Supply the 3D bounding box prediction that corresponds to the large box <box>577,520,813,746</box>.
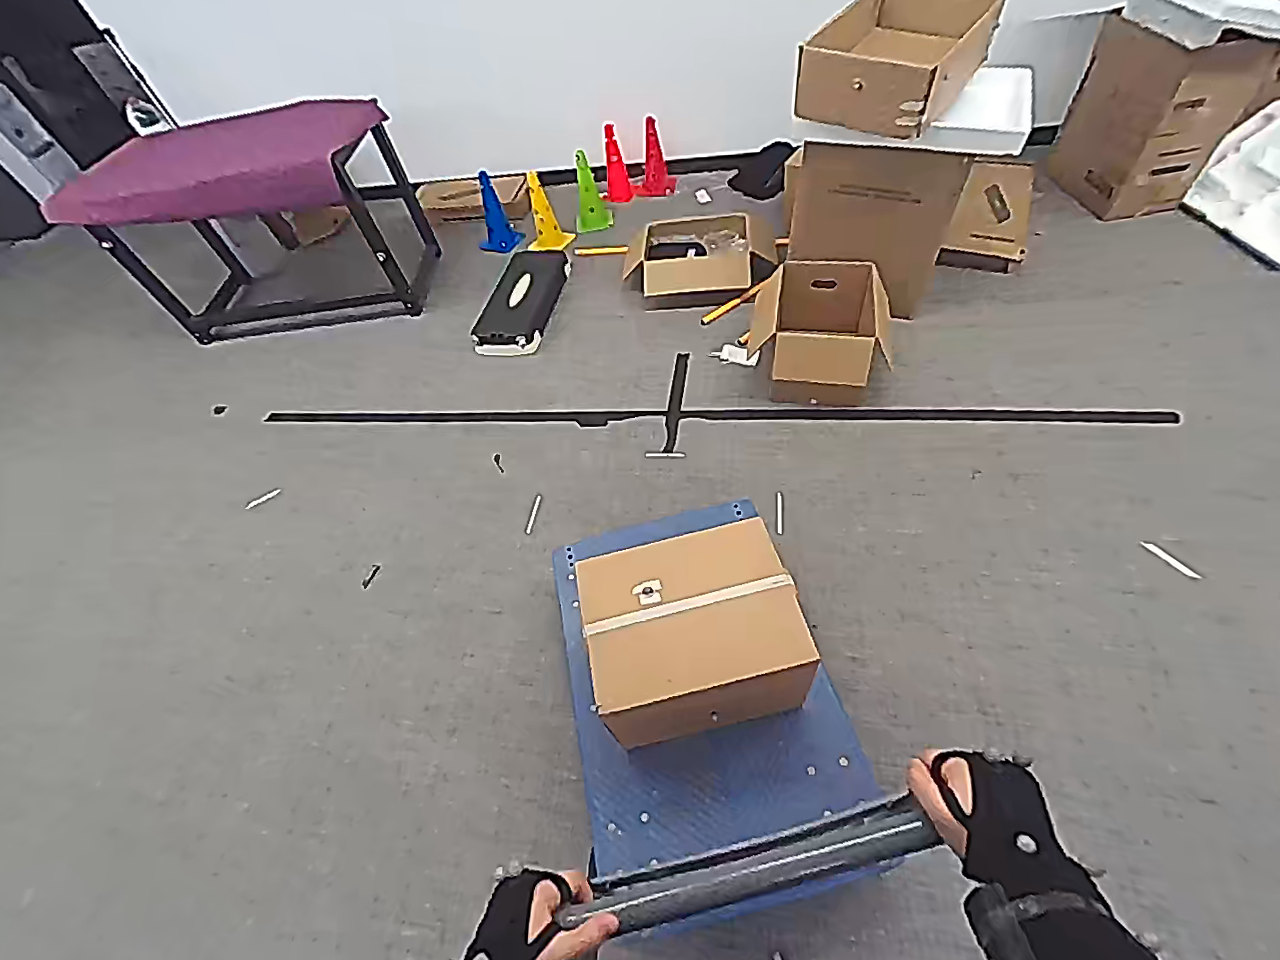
[{"bbox_3d":[0.112,0.339,1.170,0.408,0.320,0.320,-15,51,0],"label":"large box"}]
